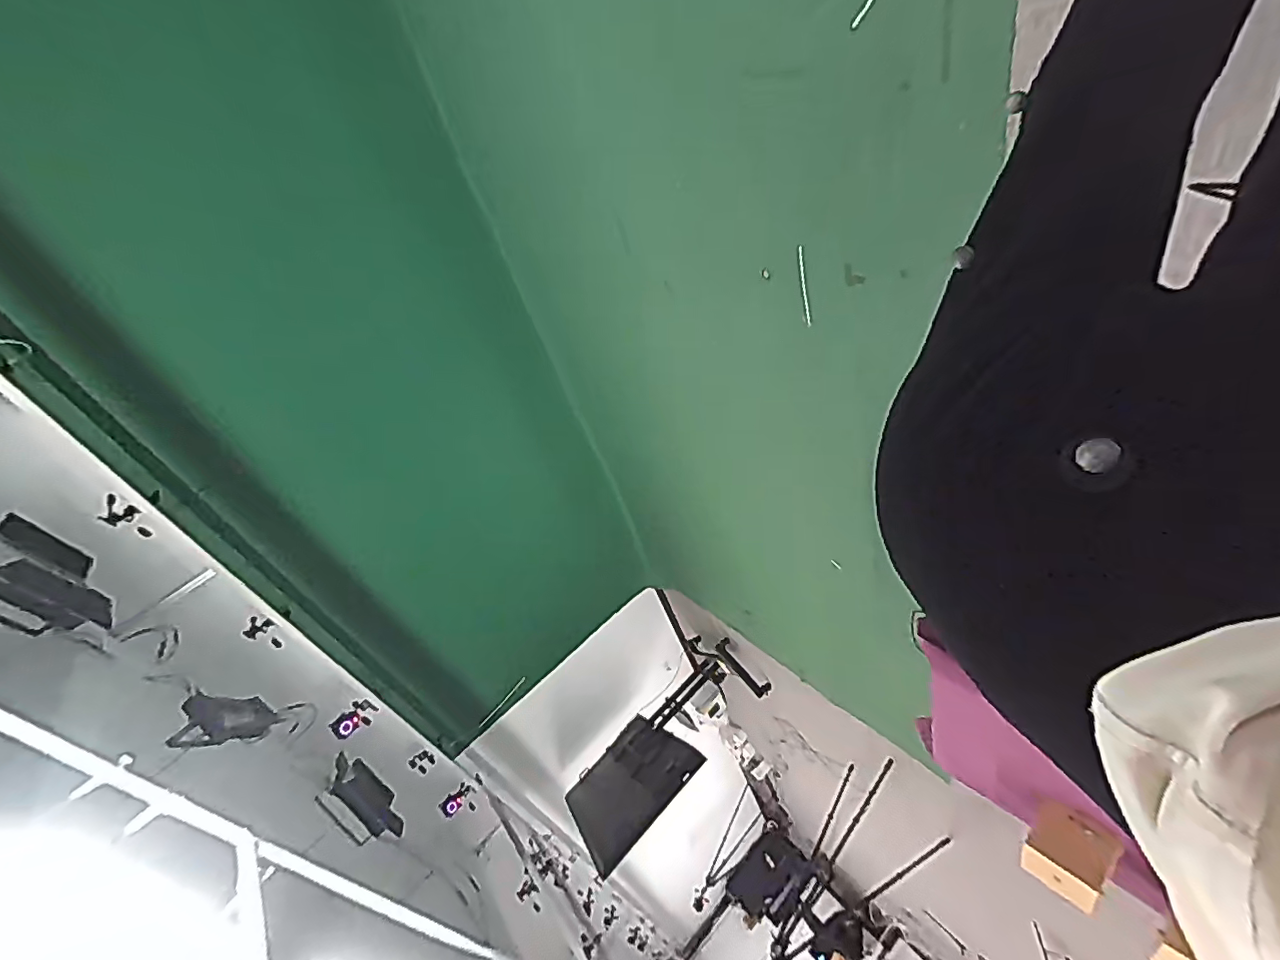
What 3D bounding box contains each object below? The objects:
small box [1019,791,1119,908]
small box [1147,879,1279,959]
[{"bbox_3d":[1.169,1.002,1.476,0.168,0.176,0.179,24,145,48],"label":"small box"},{"bbox_3d":[1.342,1.089,1.267,0.168,0.176,0.179,26,148,48],"label":"small box"}]
